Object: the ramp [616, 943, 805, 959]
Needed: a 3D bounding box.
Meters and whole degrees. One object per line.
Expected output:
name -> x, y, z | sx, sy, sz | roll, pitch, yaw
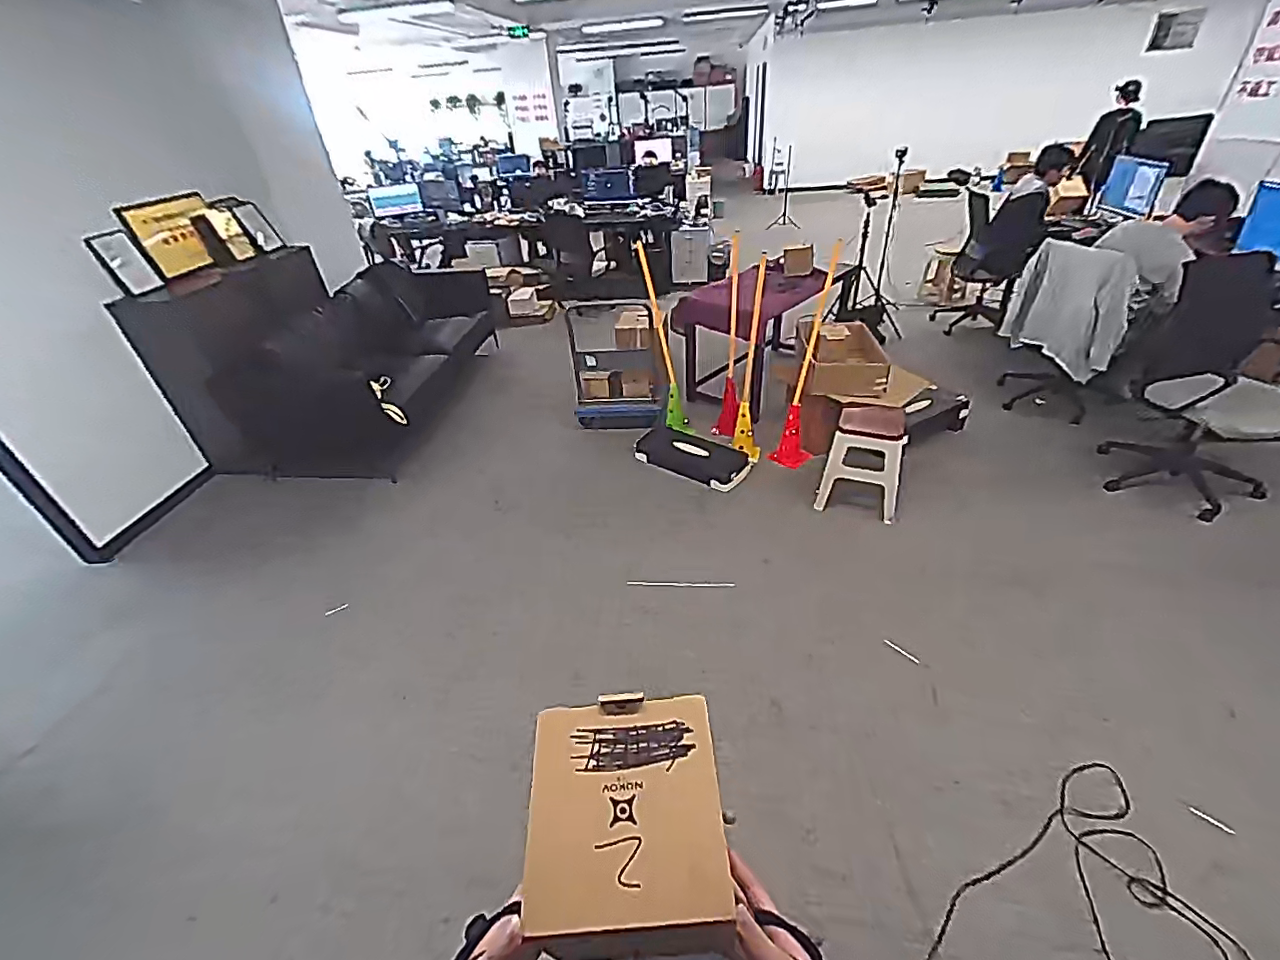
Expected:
ramp -> 0.130, 1.411, 0.932 | 0.509, 0.206, 0.991 | -2, 34, 6
